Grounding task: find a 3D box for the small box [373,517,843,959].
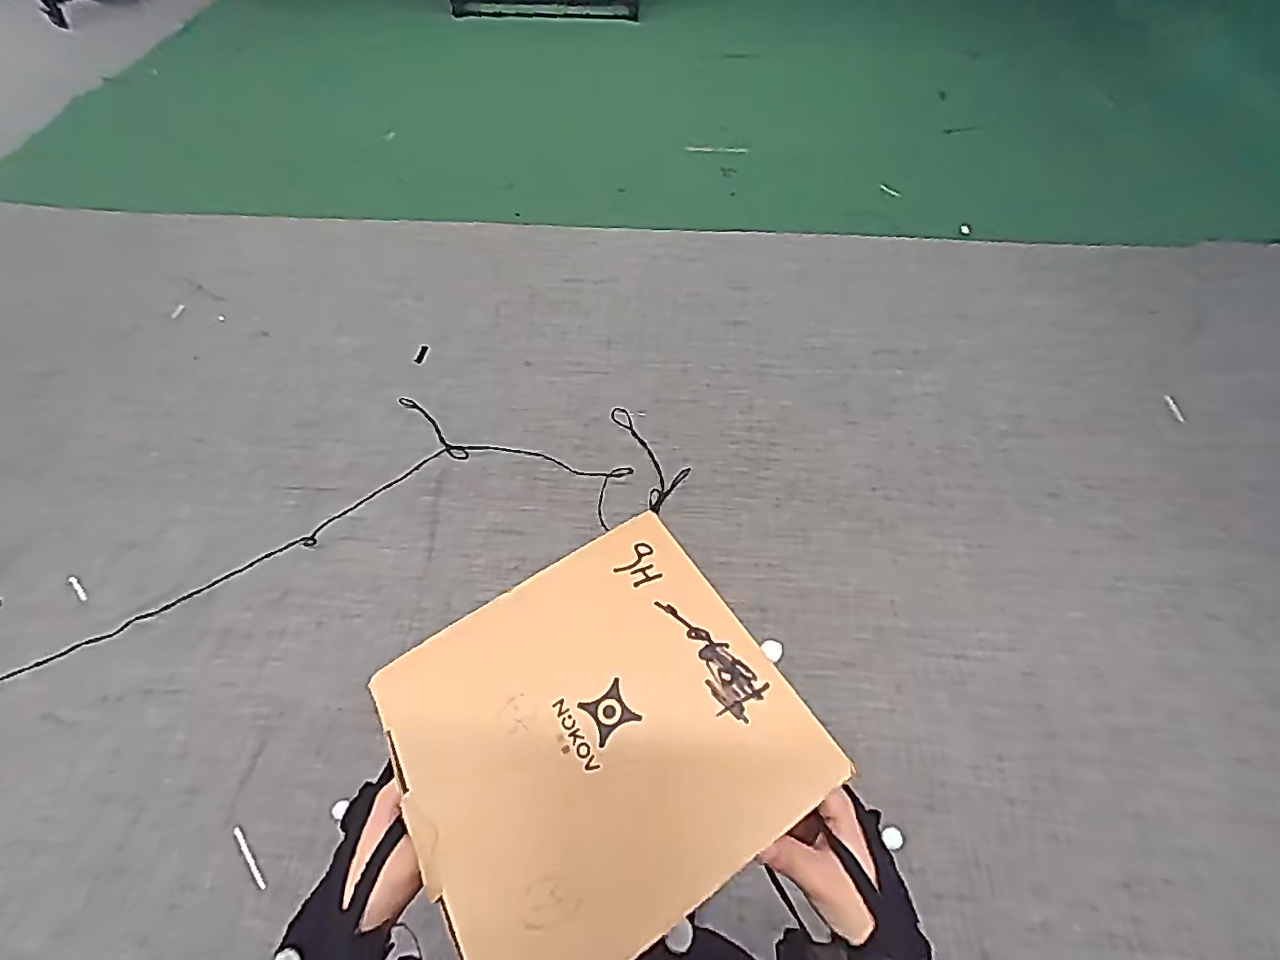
[{"bbox_3d":[-0.015,0.161,0.320,0.179,0.176,0.168,-31,58,-14],"label":"small box"}]
